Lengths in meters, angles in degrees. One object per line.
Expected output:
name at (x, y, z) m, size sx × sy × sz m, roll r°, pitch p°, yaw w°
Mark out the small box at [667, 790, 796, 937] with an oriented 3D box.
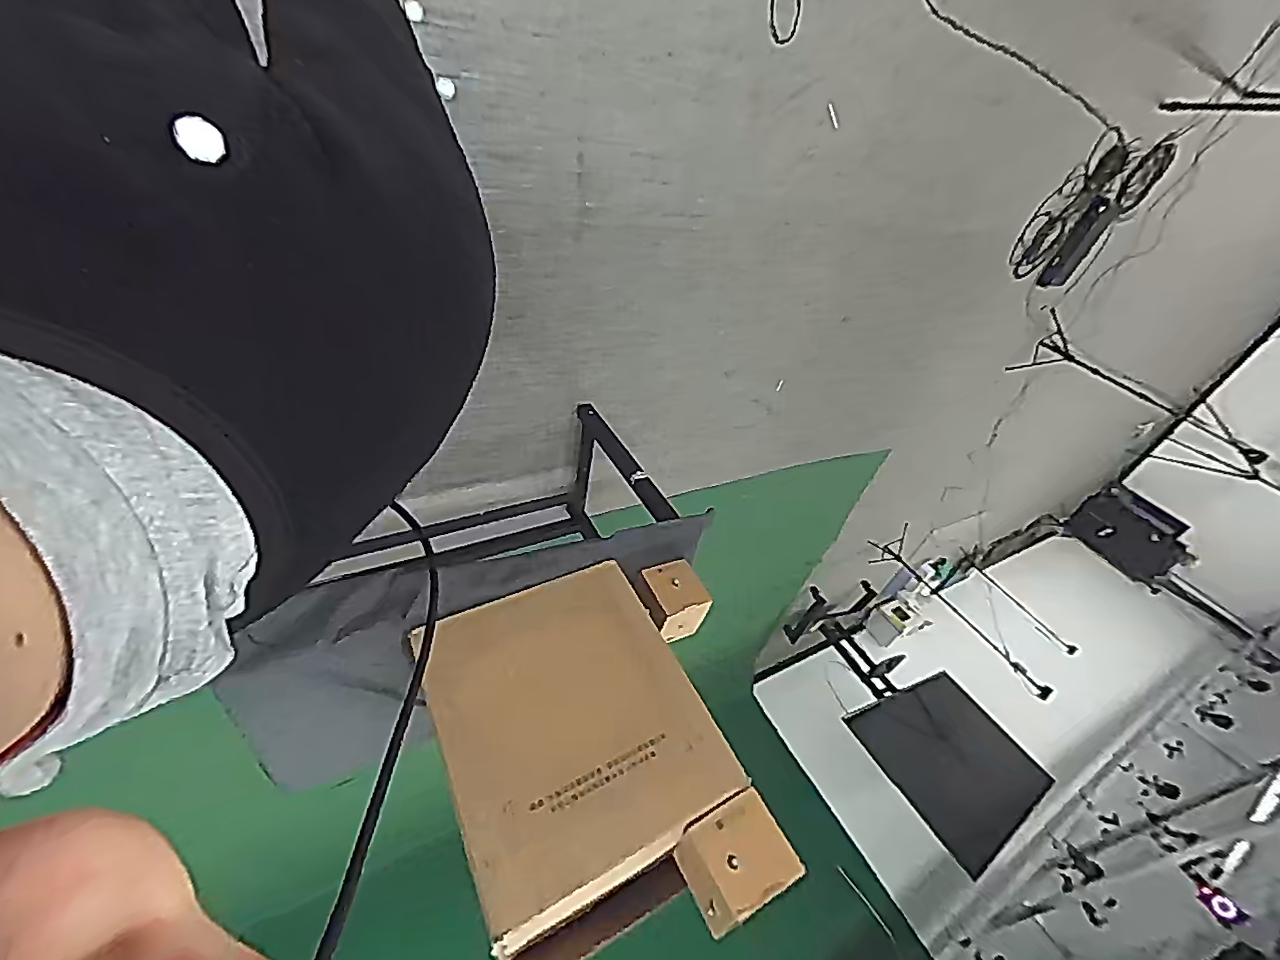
small box at (0.171, 0.751, 1.072) m, size 0.168 × 0.176 × 0.179 m, roll -16°, pitch 139°, yaw -26°
